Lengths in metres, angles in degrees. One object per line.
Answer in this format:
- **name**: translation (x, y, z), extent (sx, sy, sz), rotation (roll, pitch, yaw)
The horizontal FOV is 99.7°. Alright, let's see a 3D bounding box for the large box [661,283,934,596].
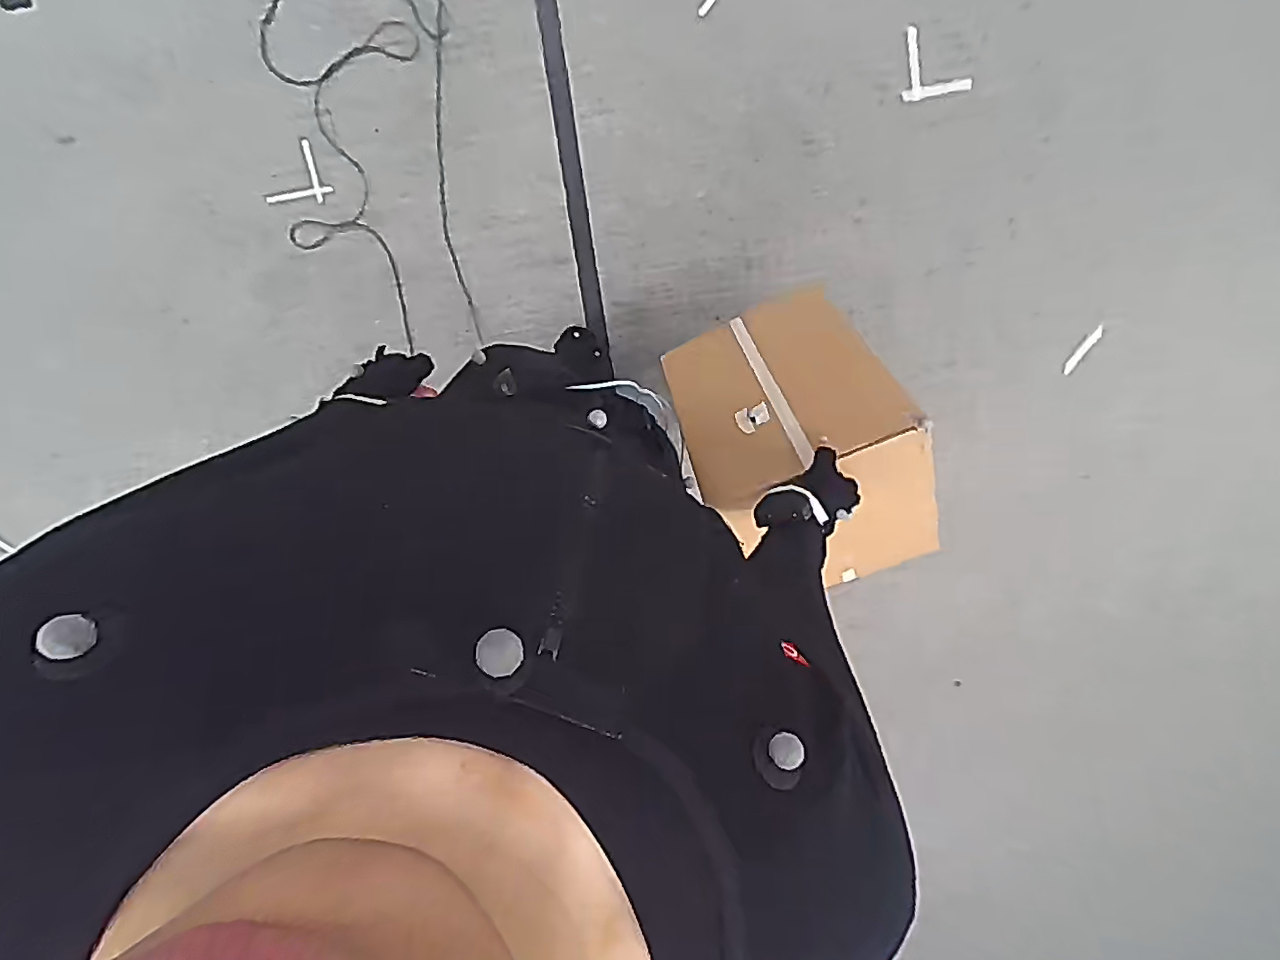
- **large box**: translation (0.270, -0.072, 0.973), extent (0.320, 0.408, 0.320), rotation (-25, 136, 13)
